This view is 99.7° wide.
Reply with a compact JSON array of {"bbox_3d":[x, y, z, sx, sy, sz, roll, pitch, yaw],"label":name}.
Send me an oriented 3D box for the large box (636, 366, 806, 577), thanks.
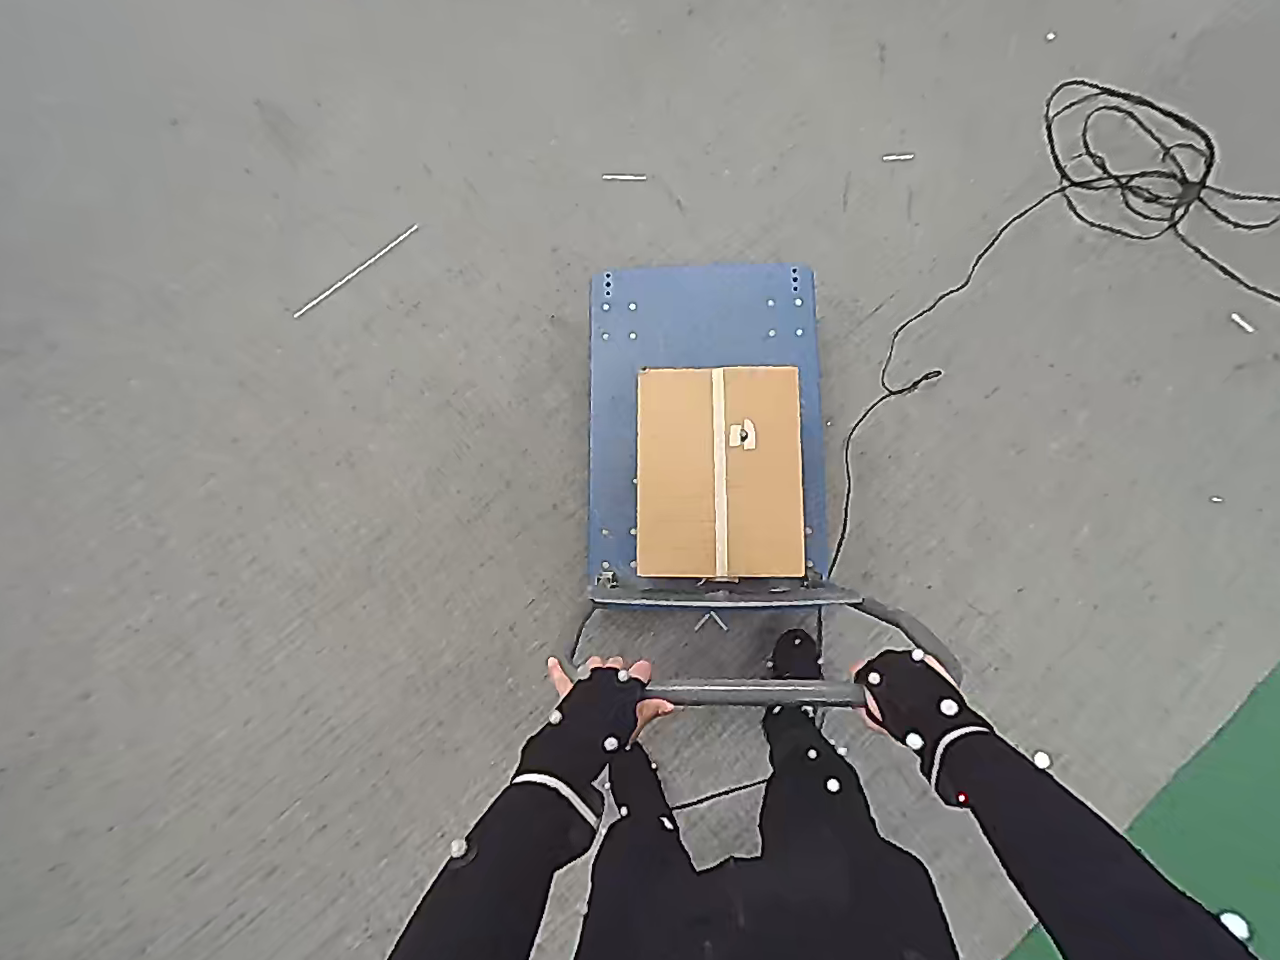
[{"bbox_3d":[0.160,0.000,1.177,0.320,0.320,0.408,-1,82,3],"label":"large box"}]
